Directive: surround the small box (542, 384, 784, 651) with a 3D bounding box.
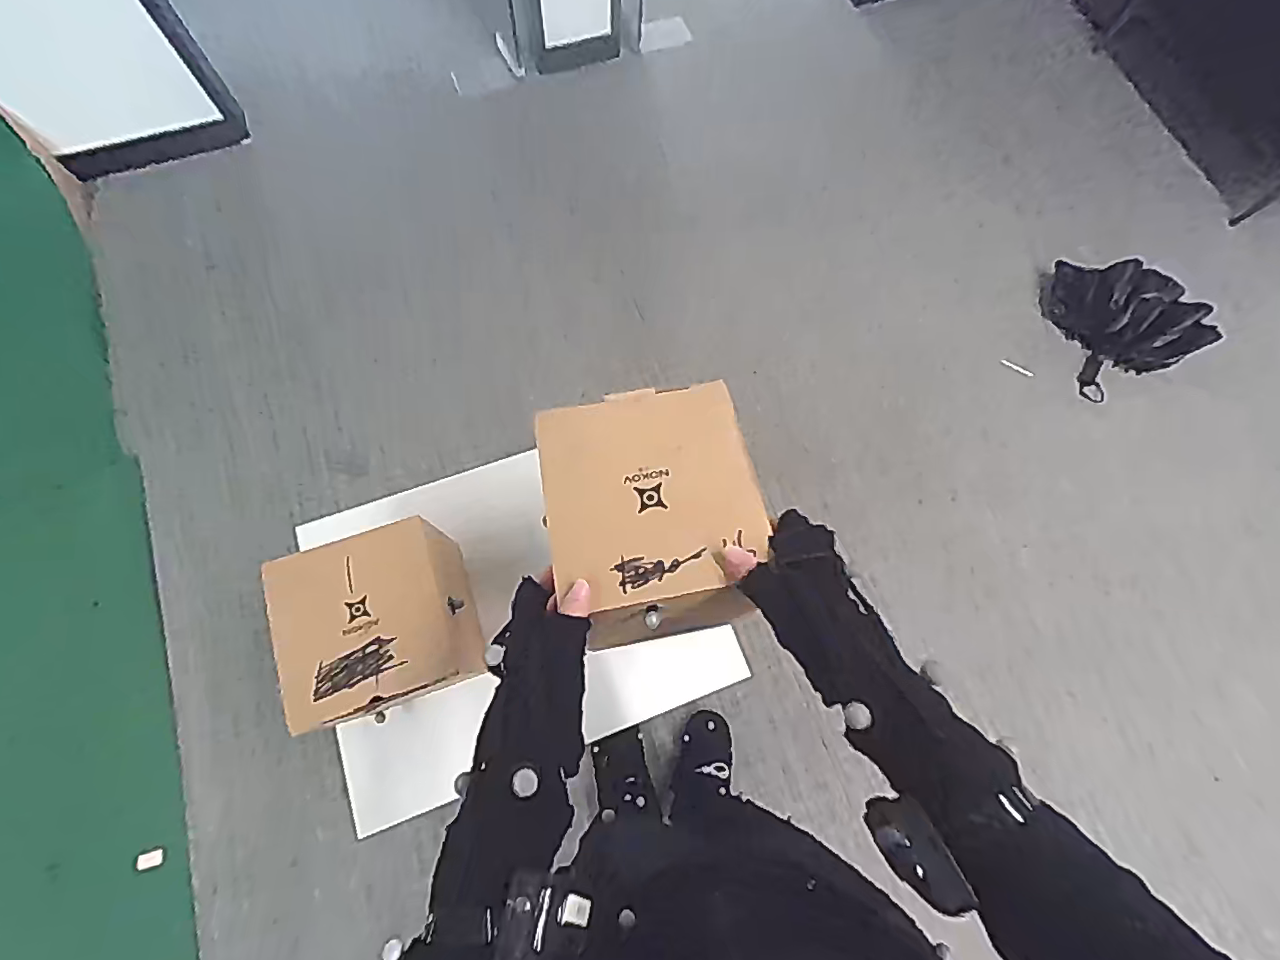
[{"bbox_3d":[0.013,0.042,0.491,0.168,0.176,0.179,-10,64,-2],"label":"small box"}]
